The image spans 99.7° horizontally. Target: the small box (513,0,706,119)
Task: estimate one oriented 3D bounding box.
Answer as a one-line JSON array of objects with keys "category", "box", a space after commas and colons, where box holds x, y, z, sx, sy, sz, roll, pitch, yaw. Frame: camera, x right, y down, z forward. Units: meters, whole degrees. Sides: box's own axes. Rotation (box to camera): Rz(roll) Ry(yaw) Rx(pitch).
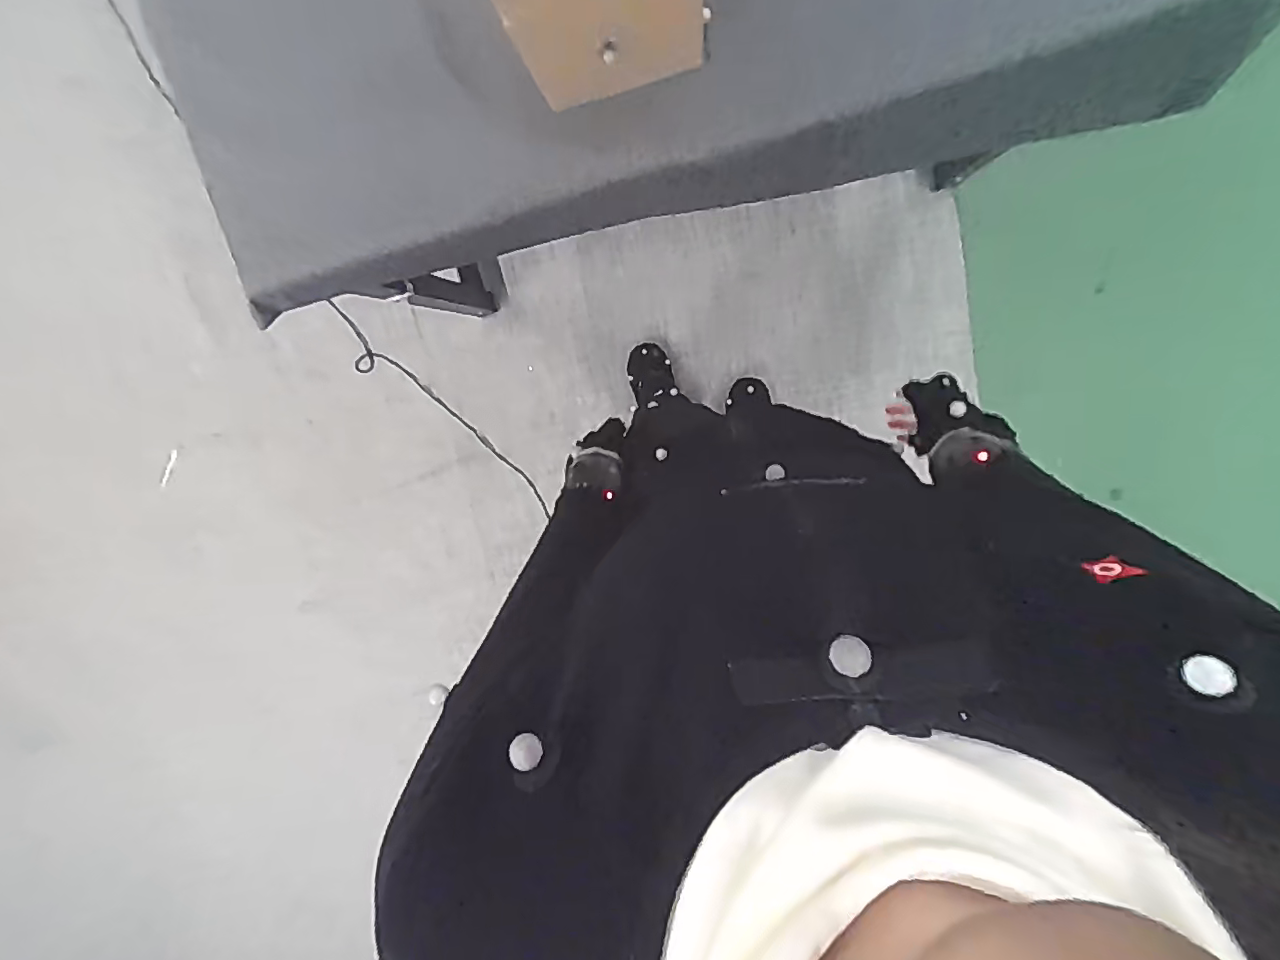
[{"category": "small box", "box": [-0.040, -0.494, 0.524, 0.179, 0.176, 0.168, -15, 100, 8]}]
